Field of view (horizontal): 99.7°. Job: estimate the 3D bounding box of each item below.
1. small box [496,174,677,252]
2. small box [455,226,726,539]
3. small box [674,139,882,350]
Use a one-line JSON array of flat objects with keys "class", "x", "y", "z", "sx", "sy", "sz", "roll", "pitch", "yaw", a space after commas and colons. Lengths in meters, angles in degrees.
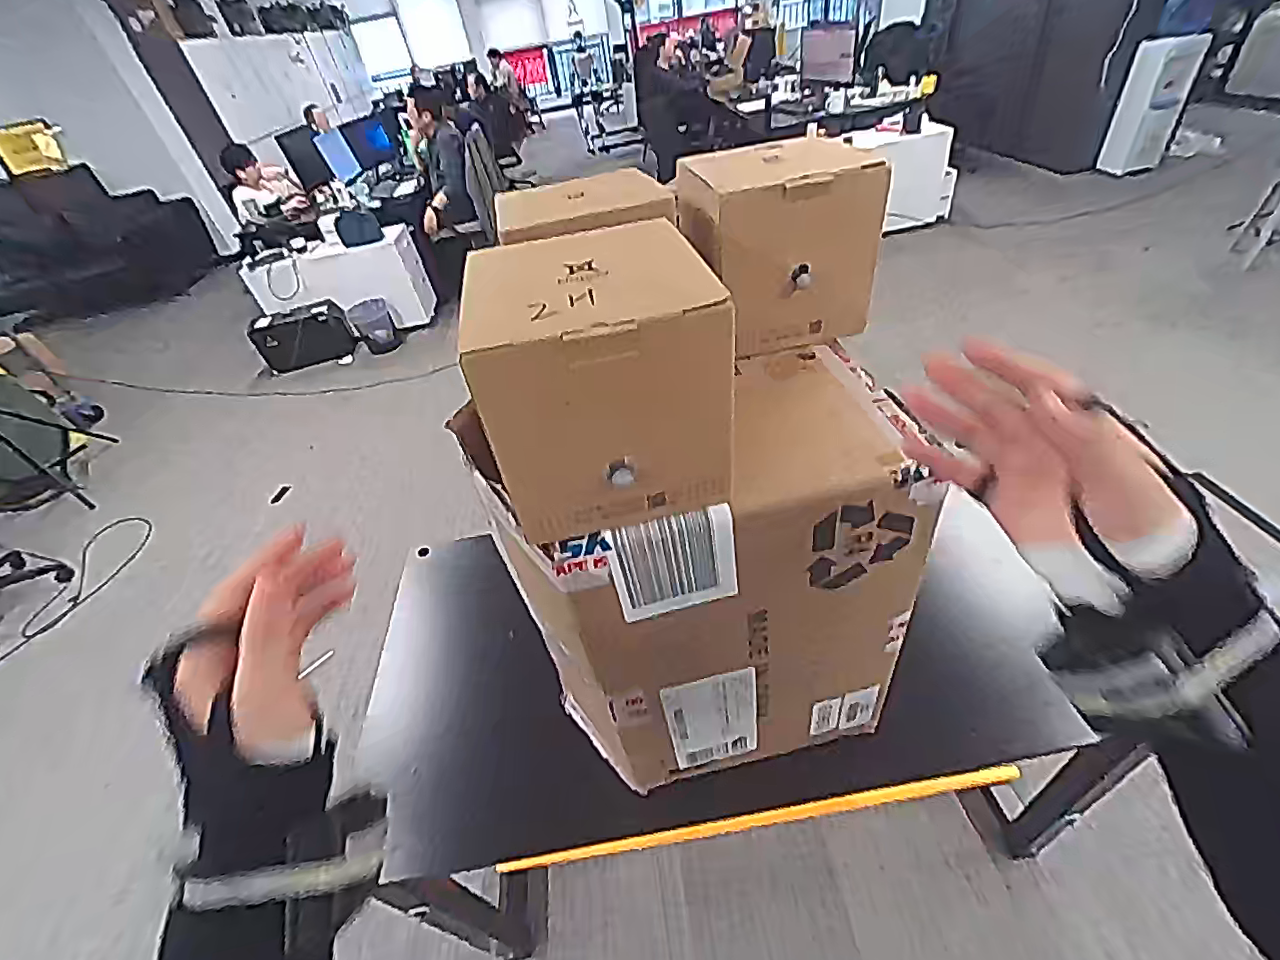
[{"class": "small box", "x": -0.056, "y": -0.223, "z": 0.607, "sx": 0.168, "sy": 0.176, "sz": 0.179, "roll": -15, "pitch": 40, "yaw": -5}, {"class": "small box", "x": -0.035, "y": -0.081, "z": 0.435, "sx": 0.168, "sy": 0.176, "sz": 0.179, "roll": -12, "pitch": 42, "yaw": -4}, {"class": "small box", "x": 0.140, "y": -0.257, "z": 0.604, "sx": 0.168, "sy": 0.176, "sz": 0.179, "roll": -11, "pitch": 41, "yaw": -3}]
